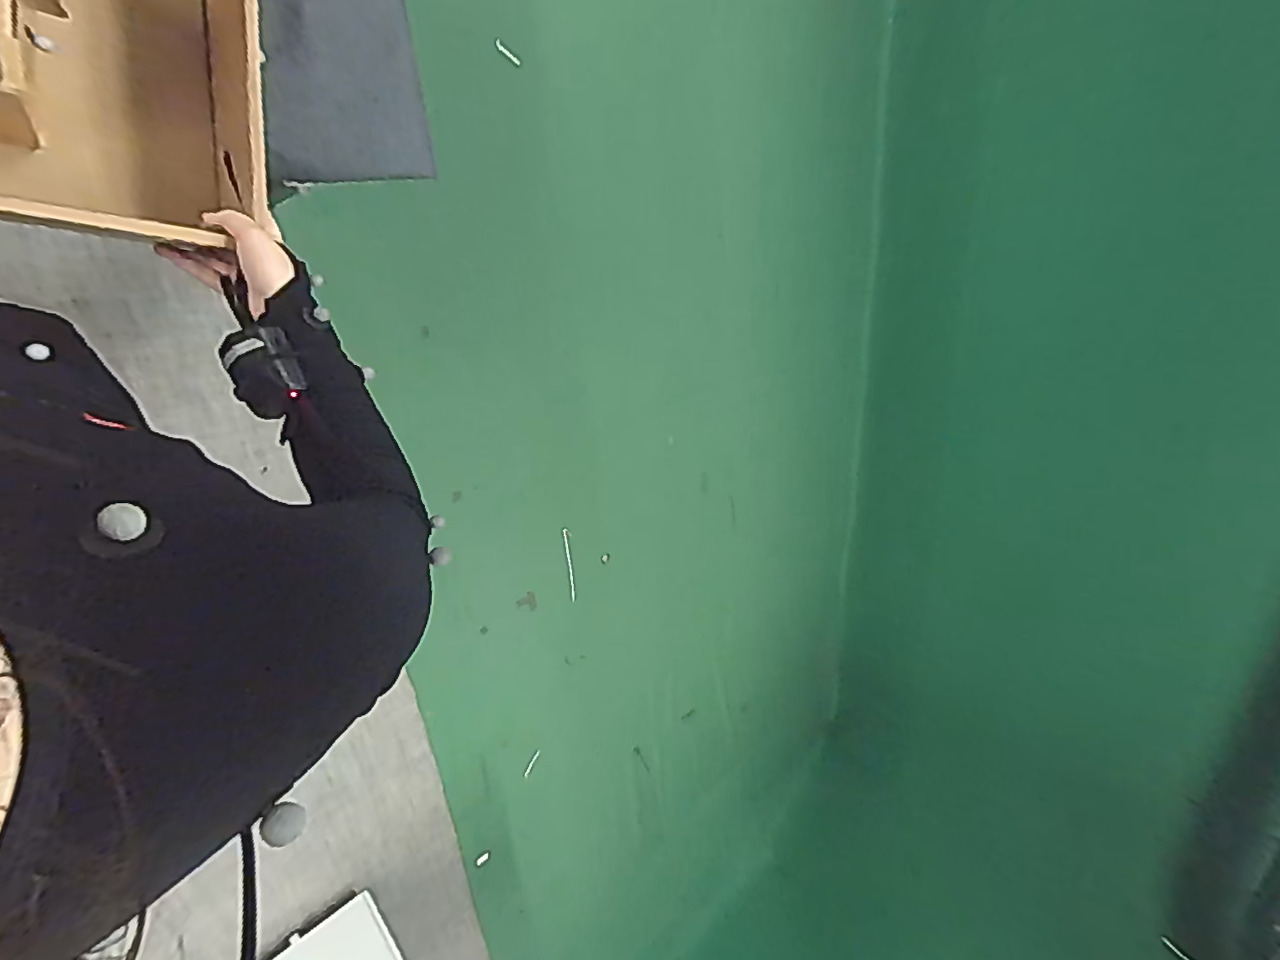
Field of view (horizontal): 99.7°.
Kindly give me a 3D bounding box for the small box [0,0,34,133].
[{"bbox_3d":[-0.512,-0.345,0.331,0.179,0.176,0.168,-3,104,-46],"label":"small box"}]
